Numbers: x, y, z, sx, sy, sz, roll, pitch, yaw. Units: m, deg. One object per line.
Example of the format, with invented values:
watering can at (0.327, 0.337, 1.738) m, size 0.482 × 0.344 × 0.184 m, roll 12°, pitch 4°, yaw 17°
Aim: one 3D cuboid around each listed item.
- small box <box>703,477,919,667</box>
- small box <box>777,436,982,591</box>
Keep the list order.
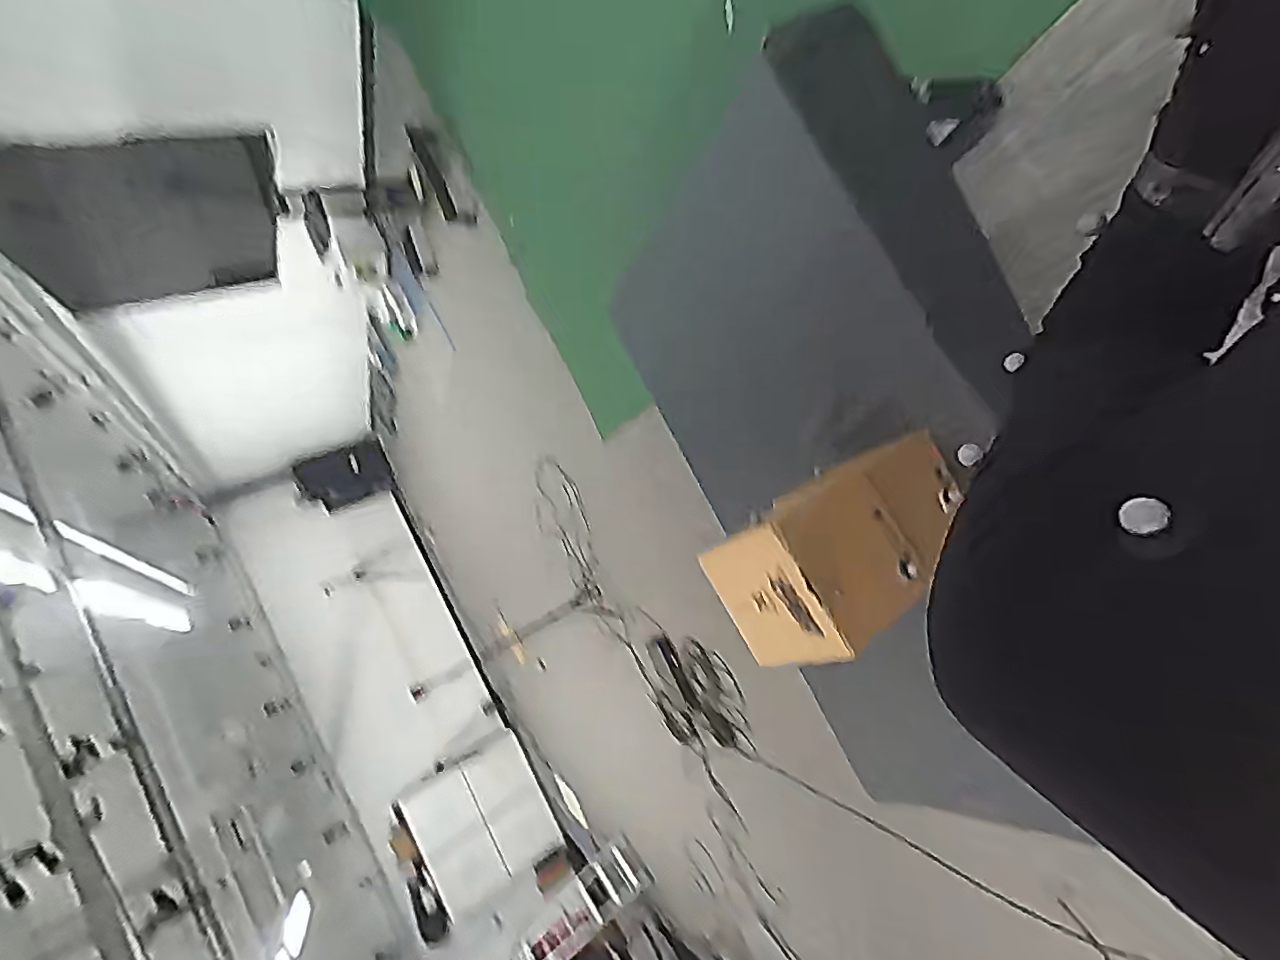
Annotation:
small box at (0.219, 0.117, 0.690) m, size 0.168 × 0.176 × 0.179 m, roll 60°, pitch 151°, yaw 8°
small box at (0.342, 0.058, 0.782) m, size 0.168 × 0.176 × 0.179 m, roll 62°, pitch 149°, yaw 5°
